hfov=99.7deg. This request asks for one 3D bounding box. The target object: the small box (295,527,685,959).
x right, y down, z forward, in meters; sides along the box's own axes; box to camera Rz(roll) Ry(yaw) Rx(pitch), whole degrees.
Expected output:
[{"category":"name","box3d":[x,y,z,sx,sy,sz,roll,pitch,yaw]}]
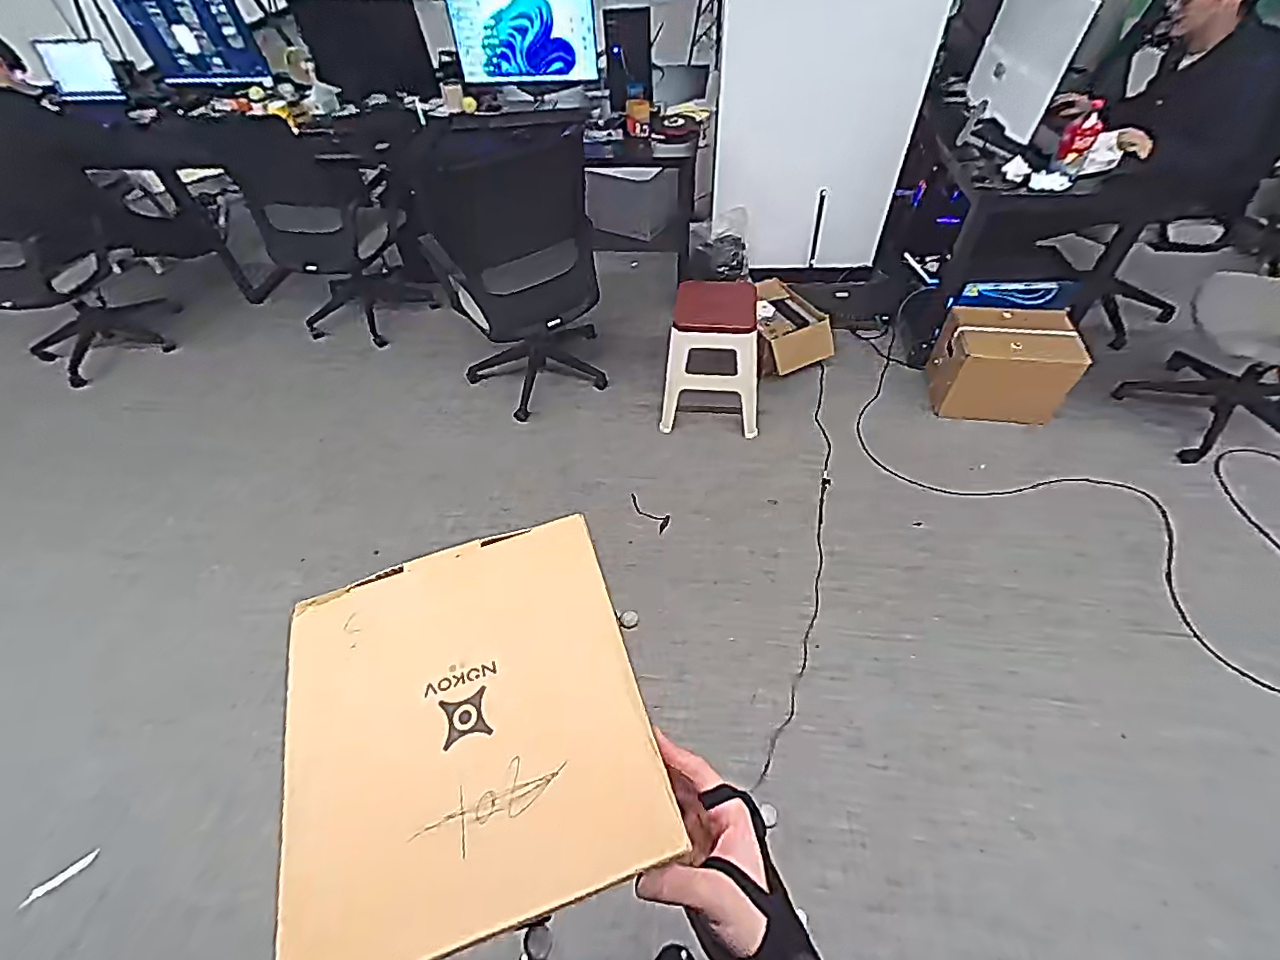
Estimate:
[{"category":"small box","box3d":[-0.080,0.162,0.336,0.168,0.176,0.179,-18,56,-8]}]
